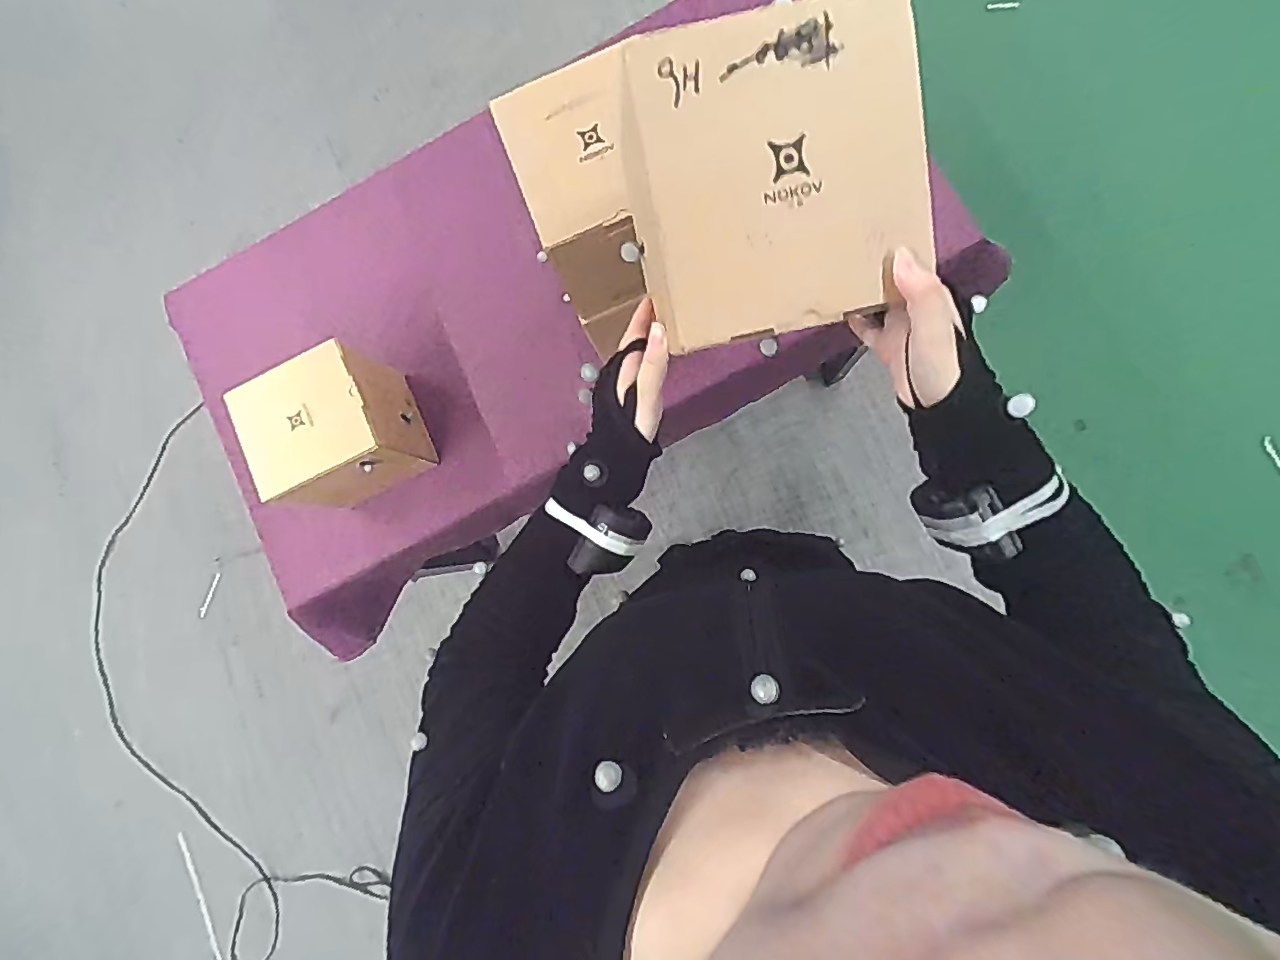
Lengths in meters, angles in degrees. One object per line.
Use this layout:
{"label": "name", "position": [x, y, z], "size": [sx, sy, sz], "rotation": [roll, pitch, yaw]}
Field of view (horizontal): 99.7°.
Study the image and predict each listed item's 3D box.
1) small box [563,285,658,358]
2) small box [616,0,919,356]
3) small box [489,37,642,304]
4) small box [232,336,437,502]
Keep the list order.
{"label": "small box", "position": [-0.015, -0.296, 0.766], "size": [0.179, 0.176, 0.168], "rotation": [-22, 82, 5]}
{"label": "small box", "position": [0.081, -0.197, 0.404], "size": [0.168, 0.176, 0.179], "rotation": [-12, 103, 1]}
{"label": "small box", "position": [-0.039, -0.322, 0.607], "size": [0.168, 0.176, 0.179], "rotation": [-21, 81, 4]}
{"label": "small box", "position": [-0.439, -0.076, 0.799], "size": [0.179, 0.176, 0.168], "rotation": [-26, 81, 3]}
